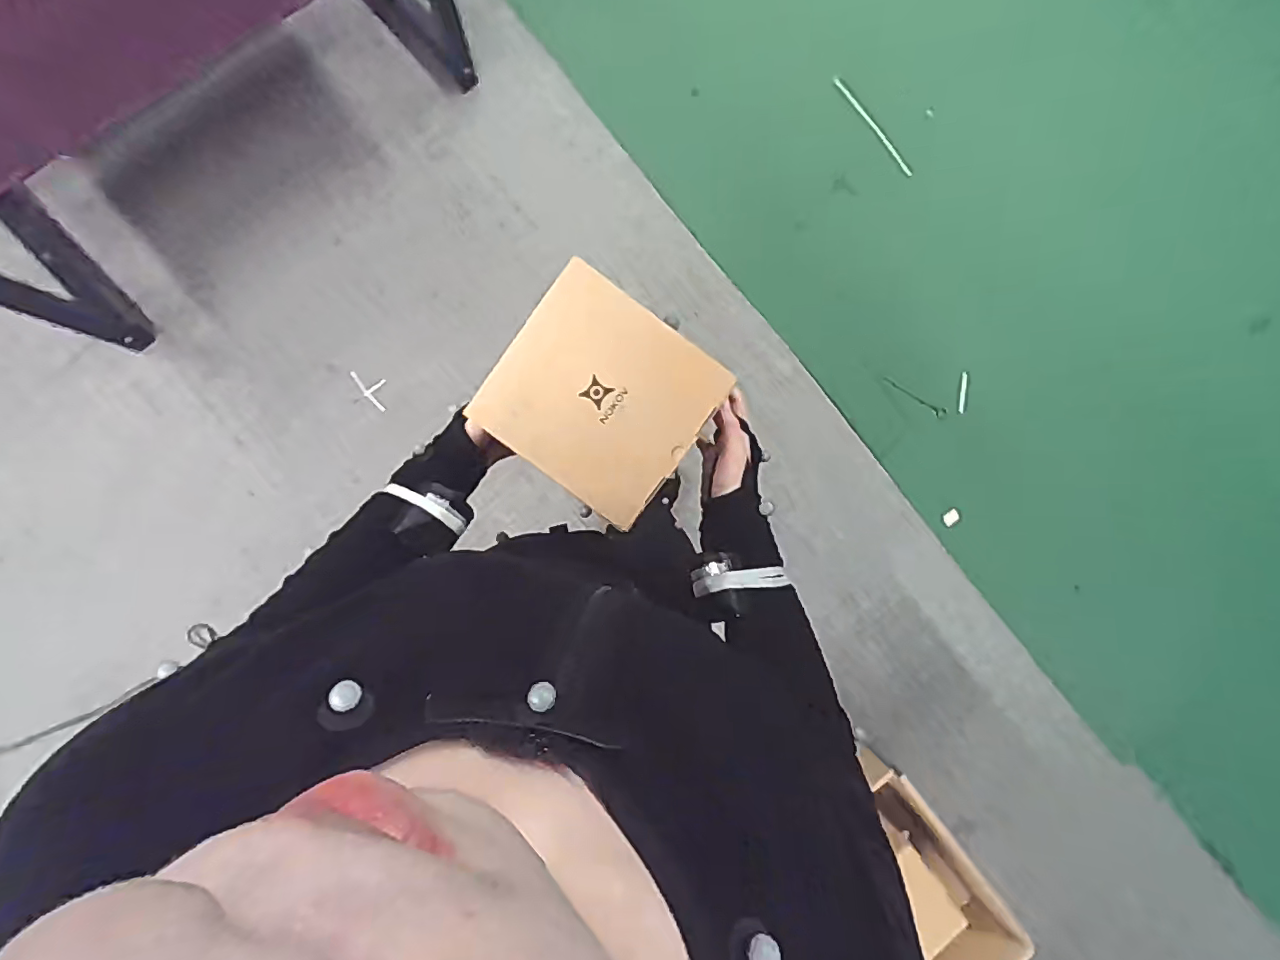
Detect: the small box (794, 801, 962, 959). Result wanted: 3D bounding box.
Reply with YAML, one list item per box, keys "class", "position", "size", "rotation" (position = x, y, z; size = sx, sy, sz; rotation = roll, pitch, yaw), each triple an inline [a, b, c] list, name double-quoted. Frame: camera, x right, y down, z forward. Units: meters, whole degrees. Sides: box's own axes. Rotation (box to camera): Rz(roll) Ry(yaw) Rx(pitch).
- class: "small box"
  position: [0.408, 0.720, 0.957]
  size: [0.179, 0.176, 0.168]
  rotation: [-35, 90, -5]
